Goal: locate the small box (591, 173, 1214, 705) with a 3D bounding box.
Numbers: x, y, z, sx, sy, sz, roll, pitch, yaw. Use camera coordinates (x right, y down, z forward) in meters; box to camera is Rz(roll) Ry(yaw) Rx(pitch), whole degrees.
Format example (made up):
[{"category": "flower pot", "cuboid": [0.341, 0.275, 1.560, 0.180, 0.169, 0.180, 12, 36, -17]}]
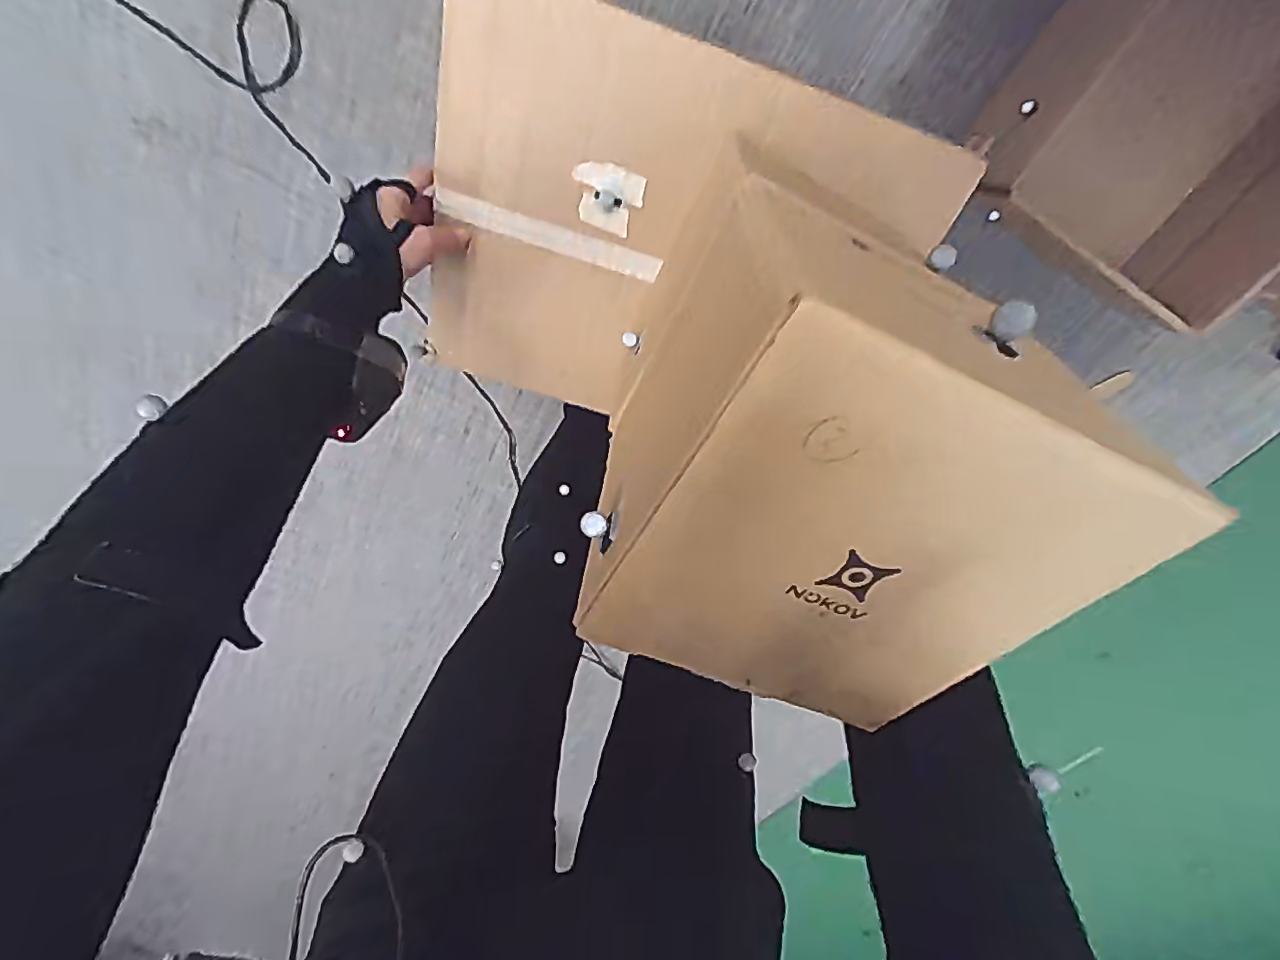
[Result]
[{"category": "small box", "cuboid": [0.089, -0.022, 0.273, 0.168, 0.176, 0.179, 22, 129, -12]}]
